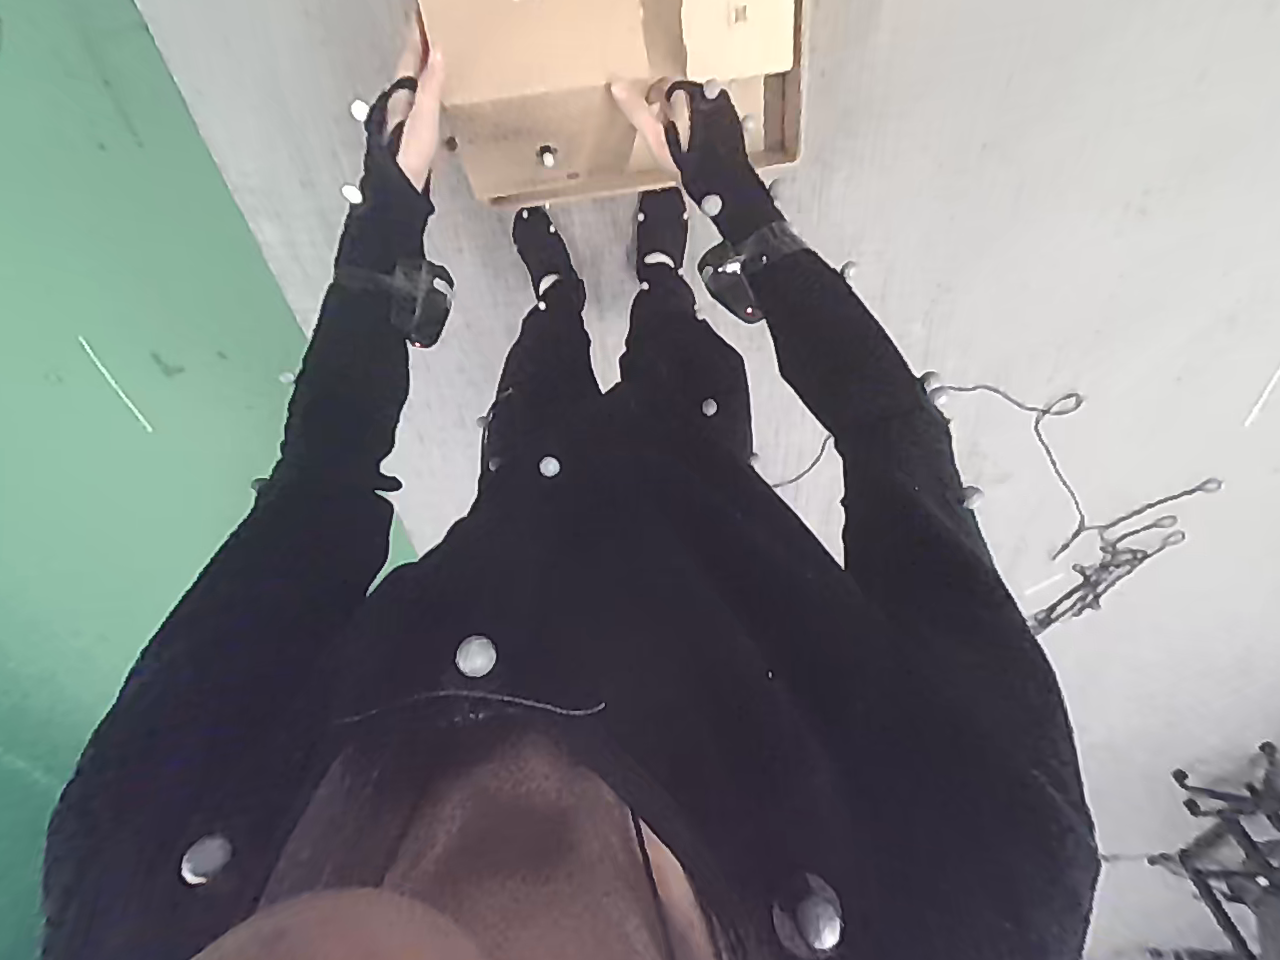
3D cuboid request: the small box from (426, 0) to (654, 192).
[{"bbox_3d":[-0.093,-0.387,0.493,0.168,0.176,0.179,-13,96,-7],"label":"small box"}]
